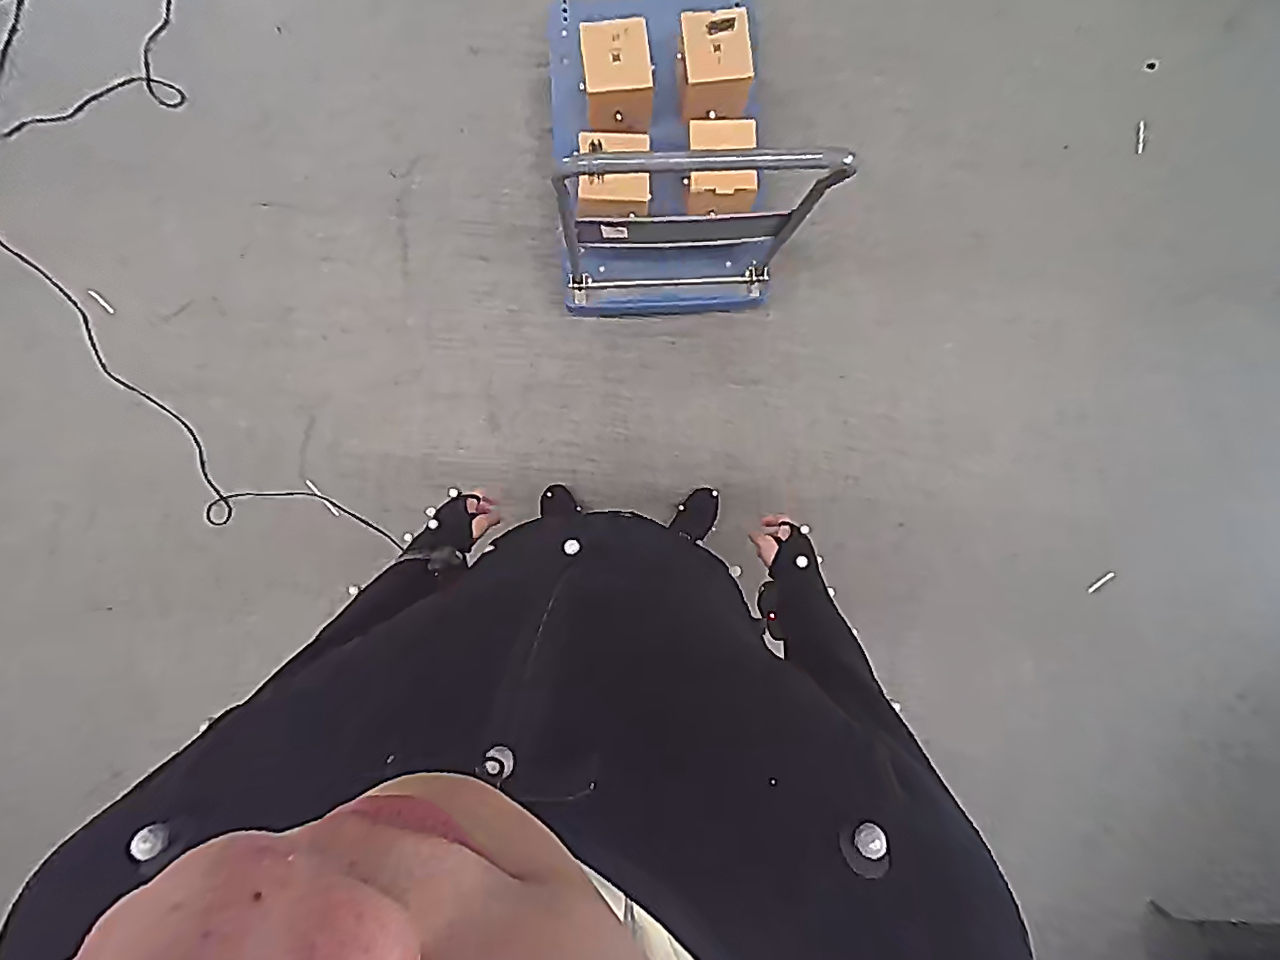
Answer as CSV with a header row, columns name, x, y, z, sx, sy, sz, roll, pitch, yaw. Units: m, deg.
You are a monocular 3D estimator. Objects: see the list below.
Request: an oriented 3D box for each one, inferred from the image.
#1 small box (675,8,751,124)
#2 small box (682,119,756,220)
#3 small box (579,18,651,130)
name,x,y,z,sx,sy,sz,roll,pitch,yaw
small box,0.186,-1.080,1.421,0.168,0.176,0.179,-7,91,-1
small box,0.202,-0.810,1.422,0.168,0.176,0.179,-3,90,-2
small box,-0.064,-1.048,1.415,0.168,0.176,0.179,-7,90,-2
